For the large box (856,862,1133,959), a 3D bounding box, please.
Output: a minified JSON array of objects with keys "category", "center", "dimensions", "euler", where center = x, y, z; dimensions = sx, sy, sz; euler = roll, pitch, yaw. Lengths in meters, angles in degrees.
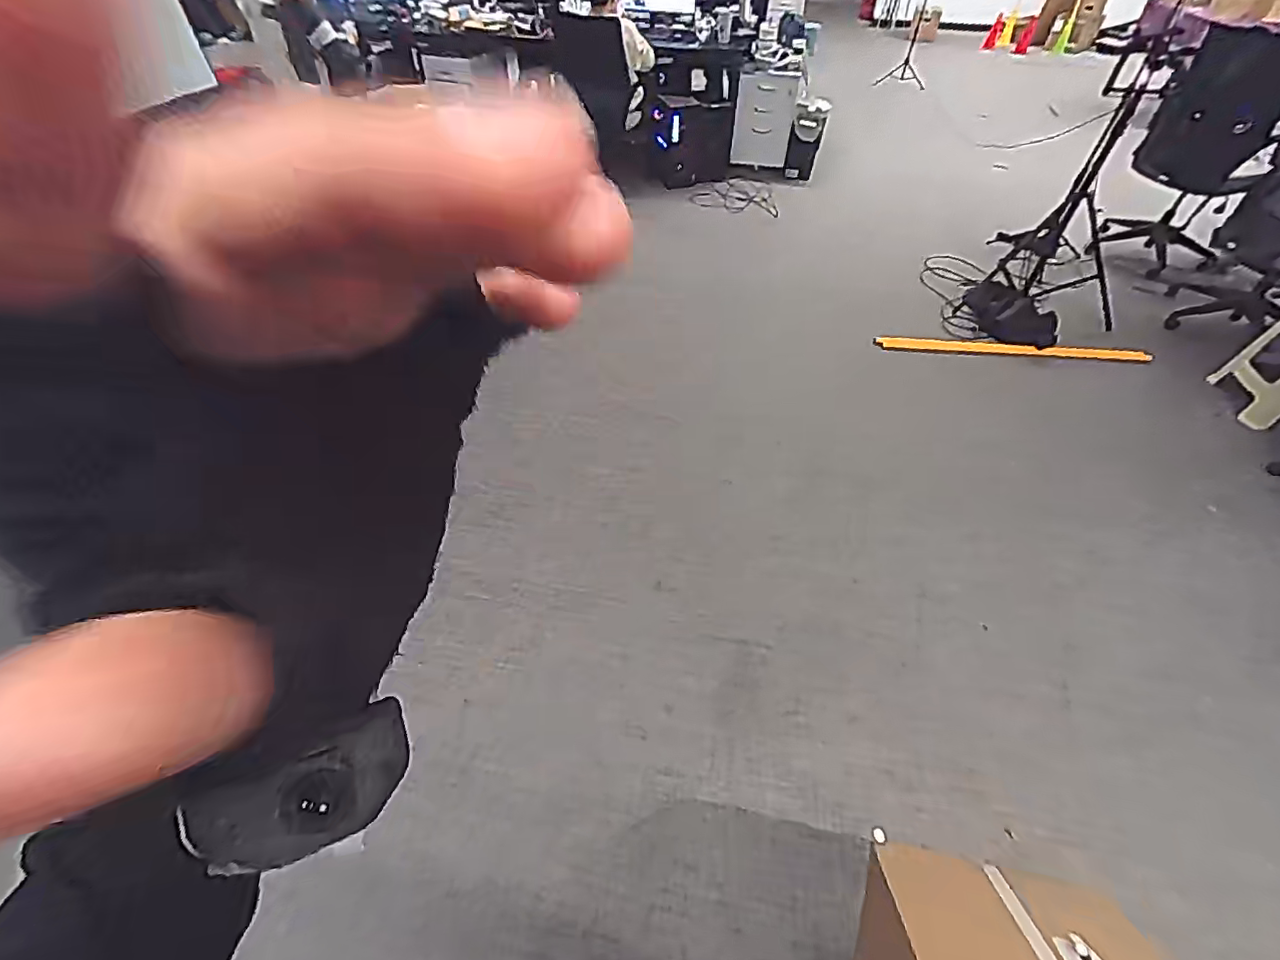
[{"category":"large box","center":[0.444,0.741,0.595],"dimensions":[0.320,0.408,0.320],"euler":[9,93,8]}]
